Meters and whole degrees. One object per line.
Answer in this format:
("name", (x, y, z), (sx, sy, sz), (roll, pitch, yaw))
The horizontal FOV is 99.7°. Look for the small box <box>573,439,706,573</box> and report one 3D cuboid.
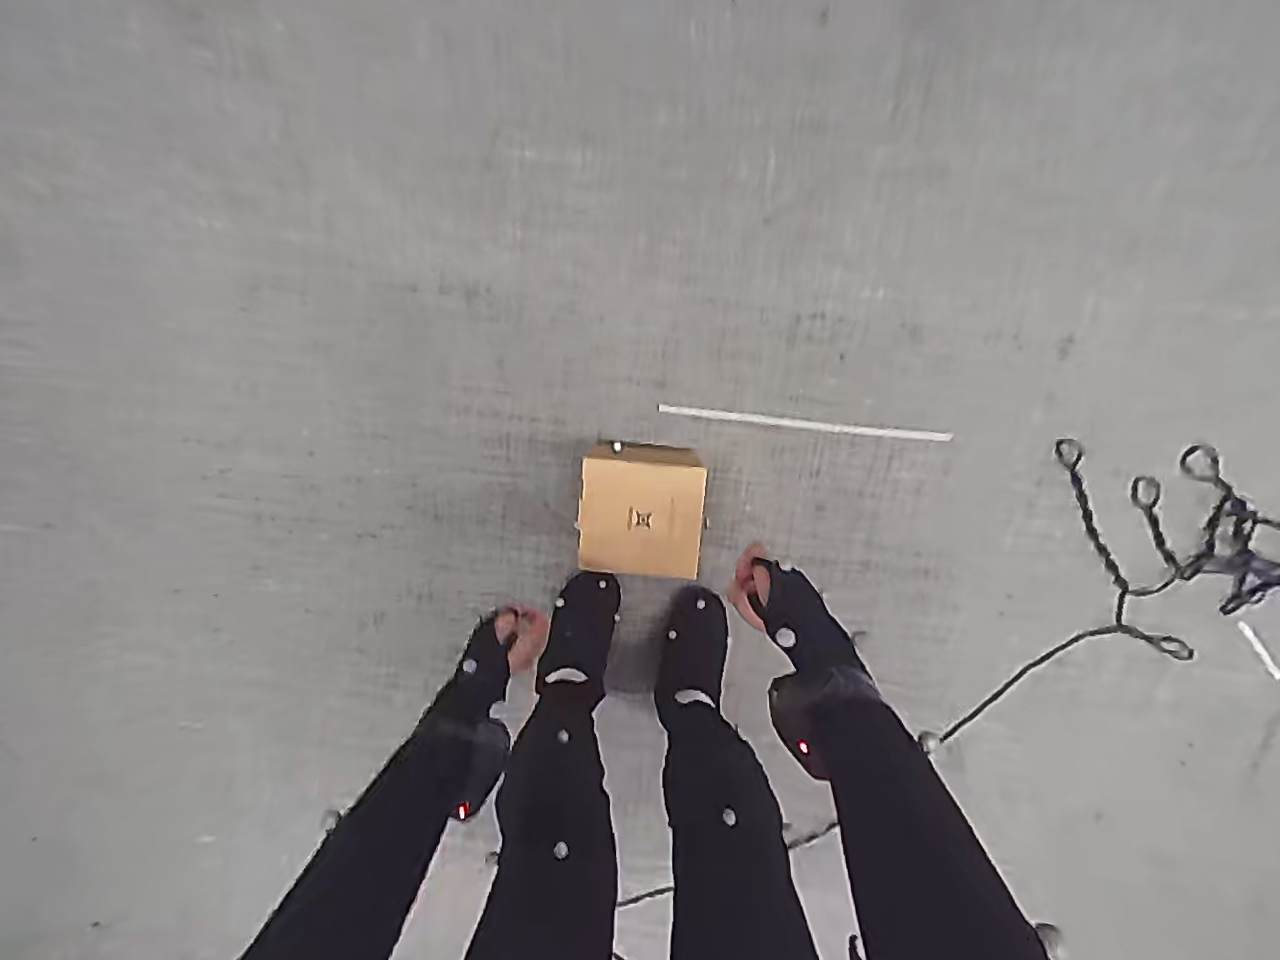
("small box", (0.000, 0.031, 0.837), (0.179, 0.176, 0.168), (5, 101, 0))
